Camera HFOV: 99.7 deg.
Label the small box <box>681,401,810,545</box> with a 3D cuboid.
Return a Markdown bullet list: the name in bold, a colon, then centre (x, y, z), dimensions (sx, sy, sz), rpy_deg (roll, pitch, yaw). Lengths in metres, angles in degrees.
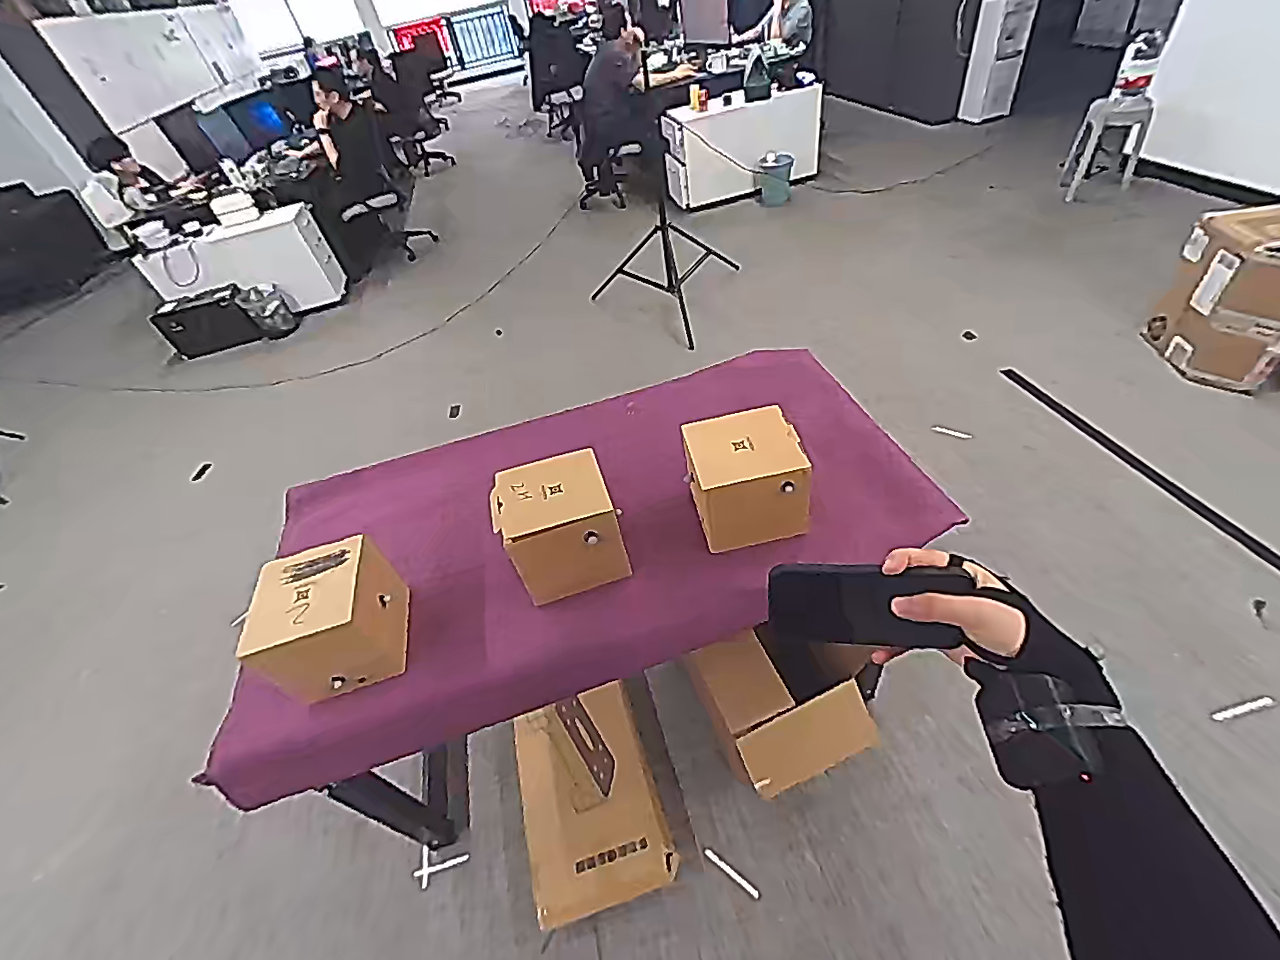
- **small box**: centre (0.181, -0.008, 0.939), dimensions (0.179, 0.176, 0.168), rpy_deg (-13, 44, 0)

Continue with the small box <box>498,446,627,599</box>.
- **small box**: centre (-0.127, 0.074, 0.927), dimensions (0.179, 0.176, 0.168), rpy_deg (-18, 42, -5)
